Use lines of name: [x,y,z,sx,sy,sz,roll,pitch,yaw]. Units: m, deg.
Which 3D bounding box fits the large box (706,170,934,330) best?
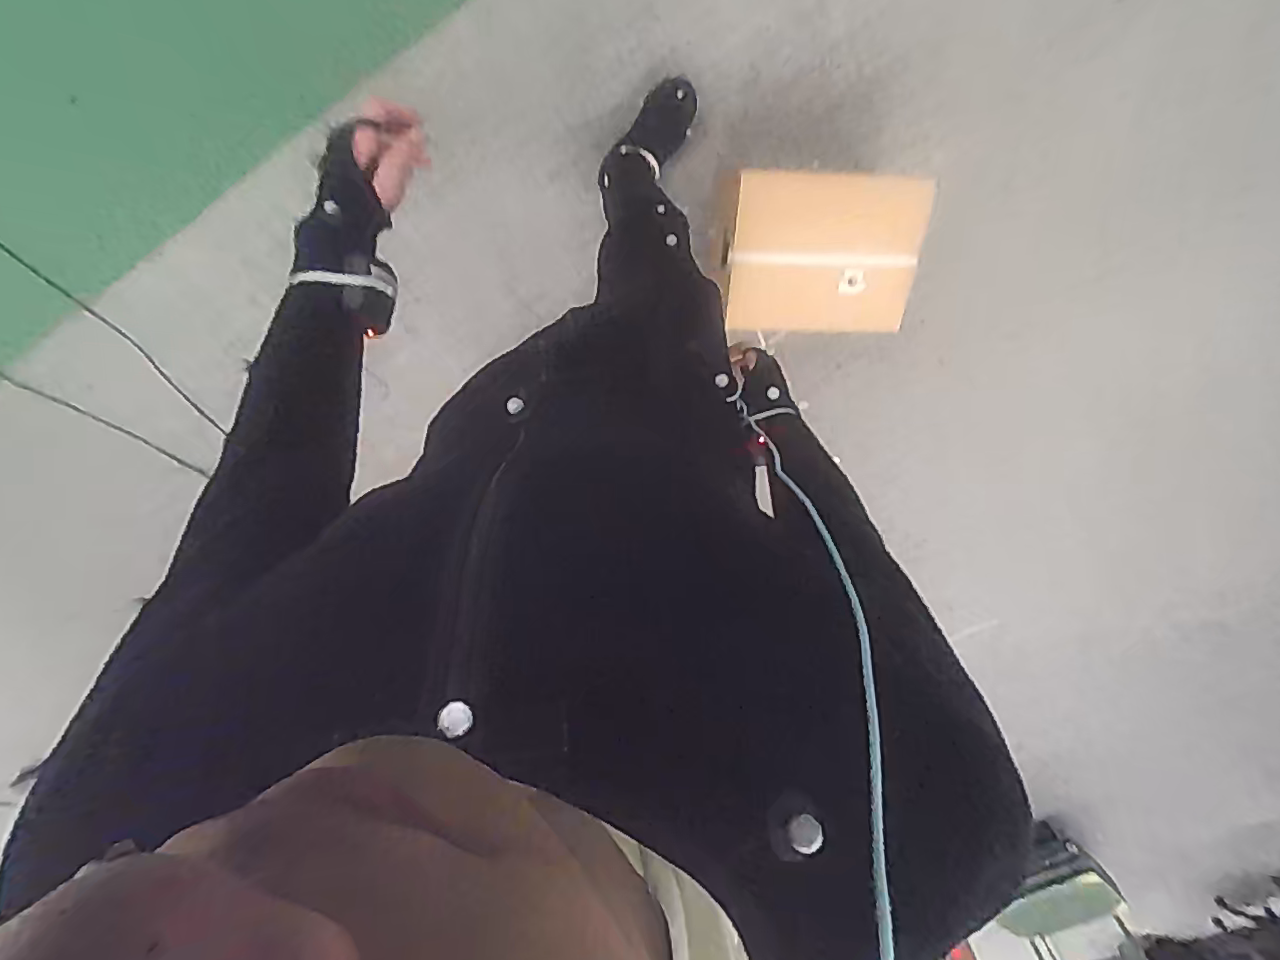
large box: [0.381,-0.546,1.273,0.408,0.320,0.320,0,121,-3]
